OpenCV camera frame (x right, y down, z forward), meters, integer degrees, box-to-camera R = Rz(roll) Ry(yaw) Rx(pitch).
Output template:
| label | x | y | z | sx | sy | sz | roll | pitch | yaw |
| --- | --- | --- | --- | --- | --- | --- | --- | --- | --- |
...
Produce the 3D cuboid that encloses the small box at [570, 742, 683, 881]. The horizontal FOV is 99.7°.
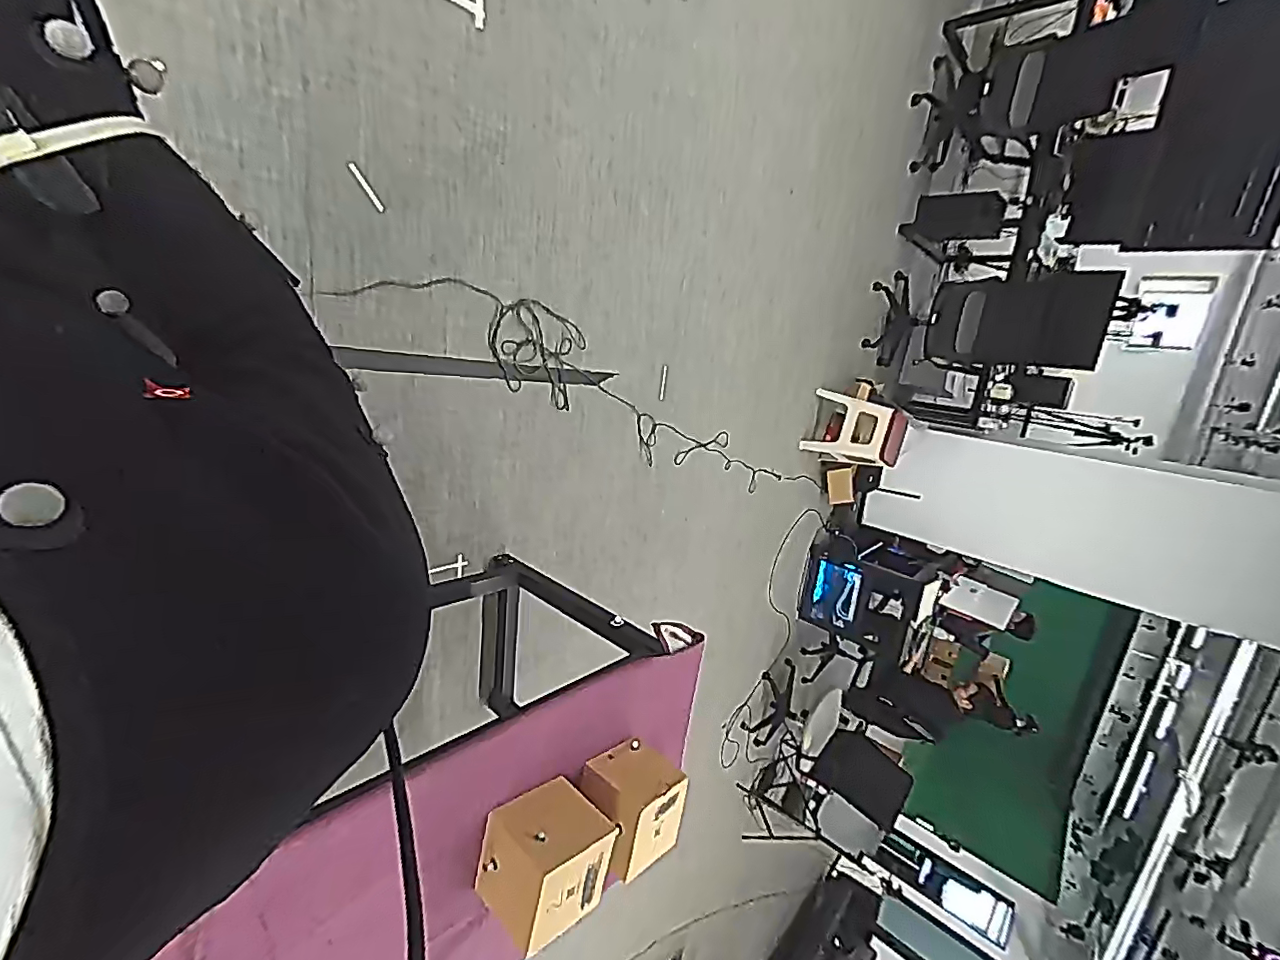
| label | x | y | z | sx | sy | sz | roll | pitch | yaw |
| --- | --- | --- | --- | --- | --- | --- | --- | --- | --- |
| small box | -0.033 | 0.706 | 1.184 | 0.168 | 0.176 | 0.179 | 1 | 103 | -49 |
